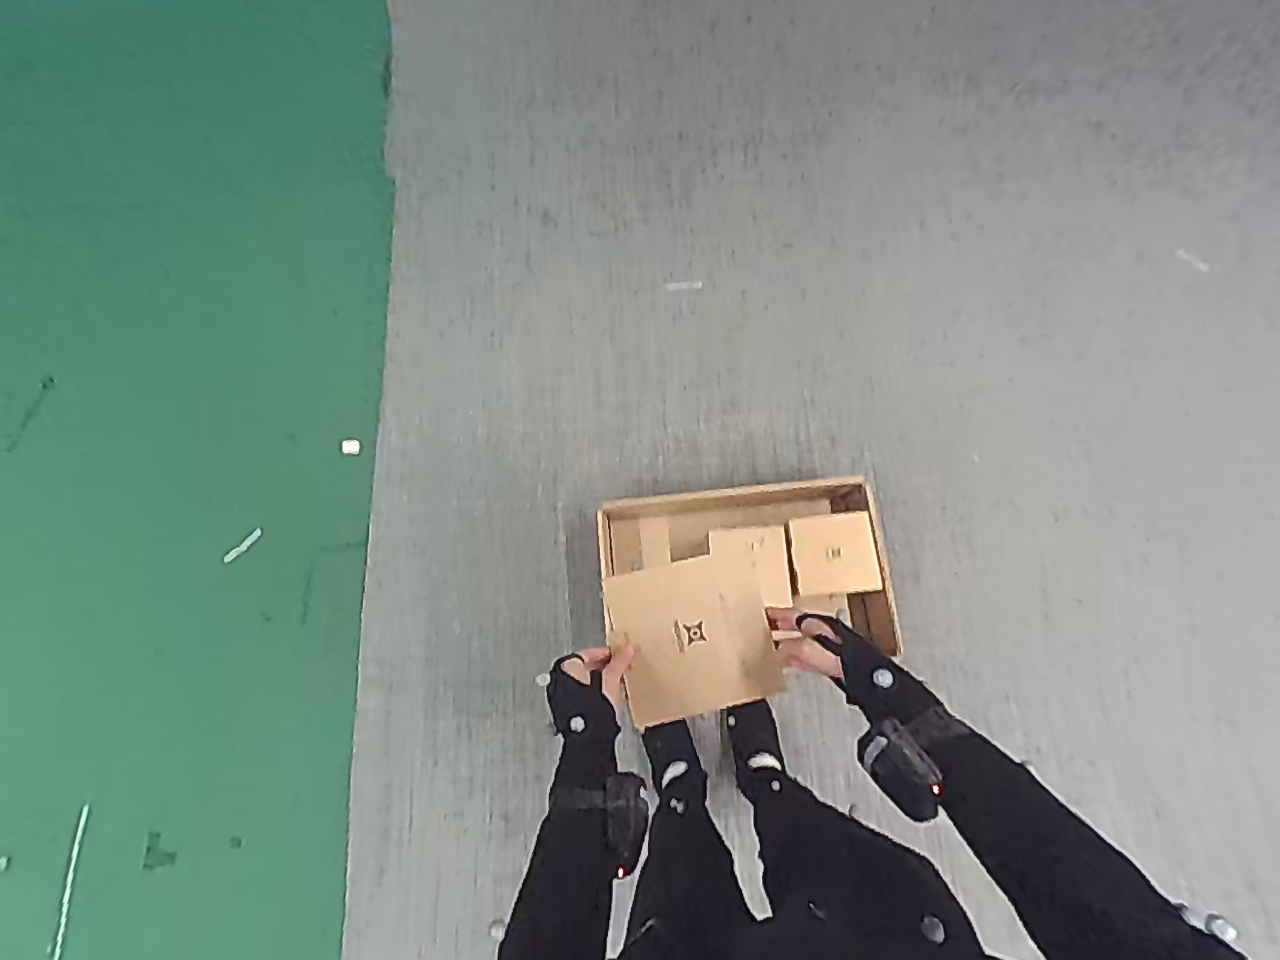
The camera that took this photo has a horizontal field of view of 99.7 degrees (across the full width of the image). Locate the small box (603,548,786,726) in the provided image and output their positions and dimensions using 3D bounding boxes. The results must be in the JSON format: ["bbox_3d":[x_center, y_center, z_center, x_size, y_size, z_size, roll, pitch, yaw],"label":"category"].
[{"bbox_3d":[0.059,0.191,0.676,0.179,0.176,0.168,-12,76,-3],"label":"small box"}]
